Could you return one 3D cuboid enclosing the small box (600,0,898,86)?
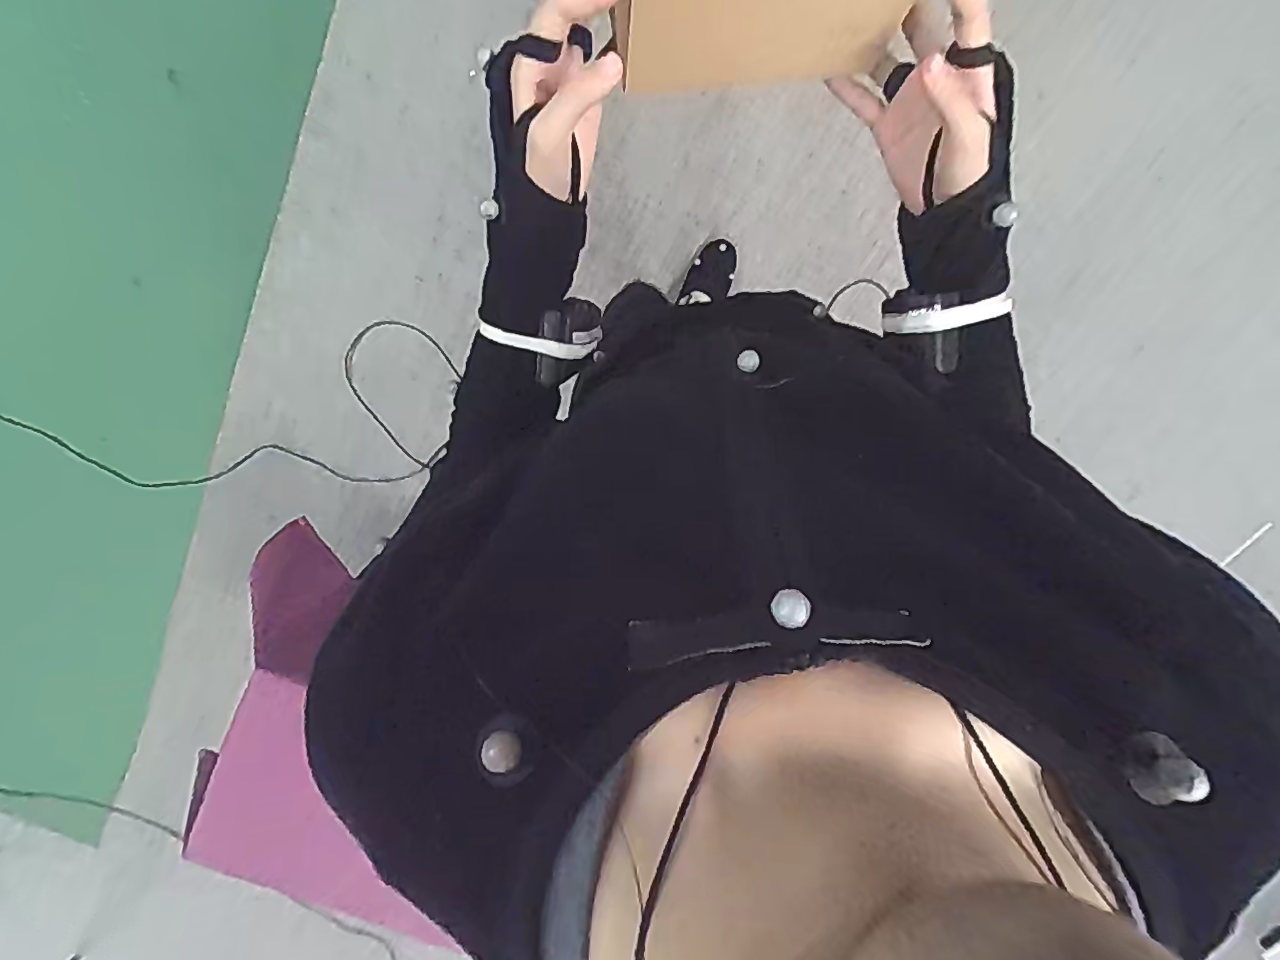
[{"bbox_3d":[0.057,-0.345,0.265,0.168,0.179,0.176,-9,85,-4],"label":"small box"}]
